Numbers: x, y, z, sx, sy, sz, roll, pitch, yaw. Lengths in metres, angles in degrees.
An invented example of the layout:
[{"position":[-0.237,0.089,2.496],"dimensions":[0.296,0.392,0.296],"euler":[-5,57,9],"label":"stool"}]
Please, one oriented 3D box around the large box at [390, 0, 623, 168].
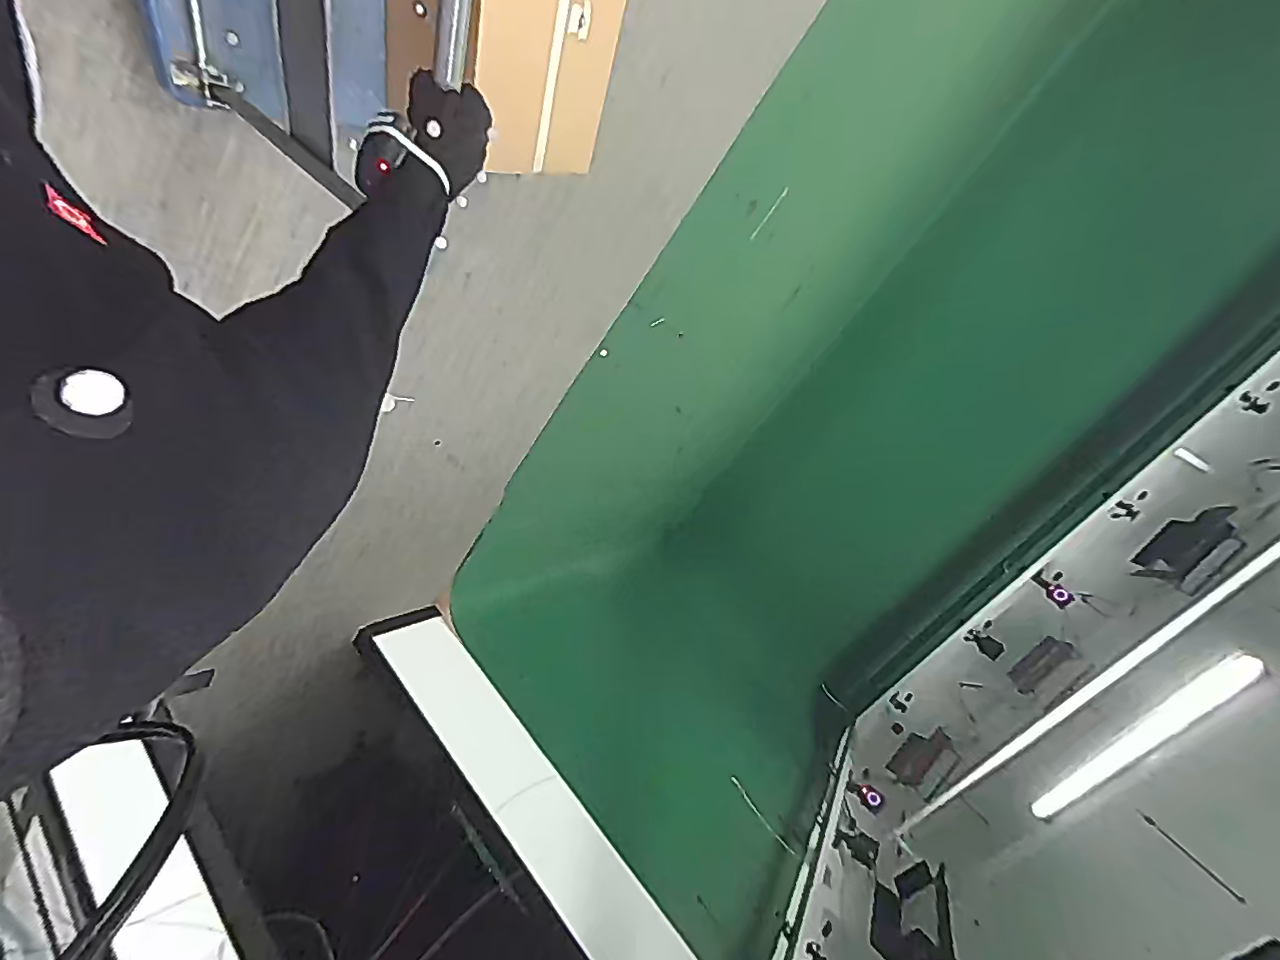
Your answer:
[{"position":[-0.264,-0.877,1.043],"dimensions":[0.320,0.320,0.408],"euler":[-28,153,-40],"label":"large box"}]
